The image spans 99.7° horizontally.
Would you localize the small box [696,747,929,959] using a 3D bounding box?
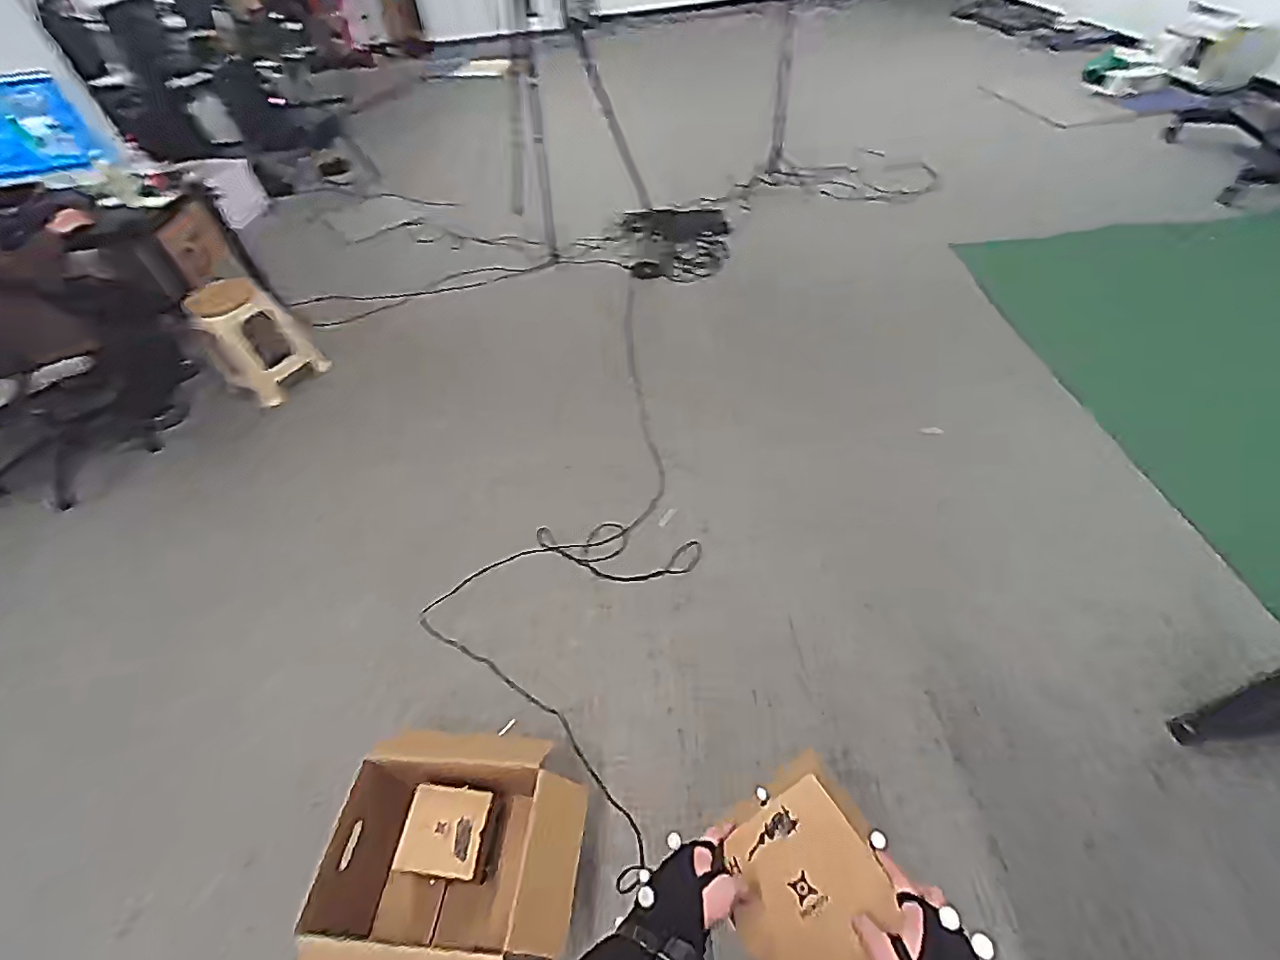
[{"bbox_3d":[0.194,0.446,0.631,0.168,0.176,0.179,-38,66,3],"label":"small box"}]
